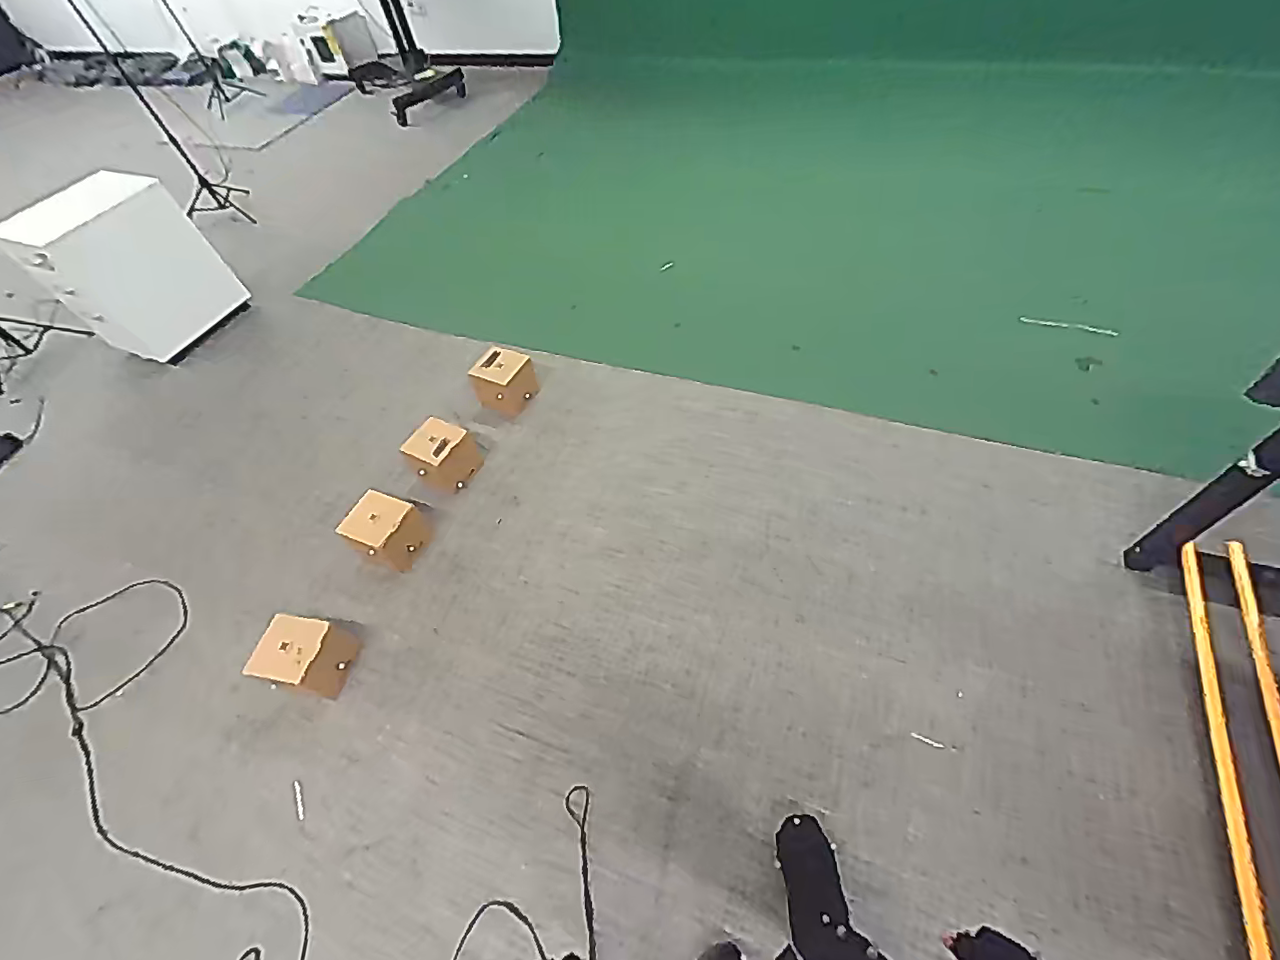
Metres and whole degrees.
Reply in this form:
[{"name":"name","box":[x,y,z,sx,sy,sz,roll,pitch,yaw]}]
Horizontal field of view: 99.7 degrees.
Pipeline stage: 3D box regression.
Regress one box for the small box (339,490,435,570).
[{"name":"small box","box":[-0.786,0.161,1.696,0.179,0.176,0.168,16,58,17]}]

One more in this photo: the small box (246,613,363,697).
[{"name":"small box","box":[-0.905,0.481,1.475,0.179,0.176,0.168,5,56,11]}]

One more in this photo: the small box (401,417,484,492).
[{"name":"small box","box":[-0.669,-0.083,1.858,0.179,0.176,0.168,21,58,22]}]
